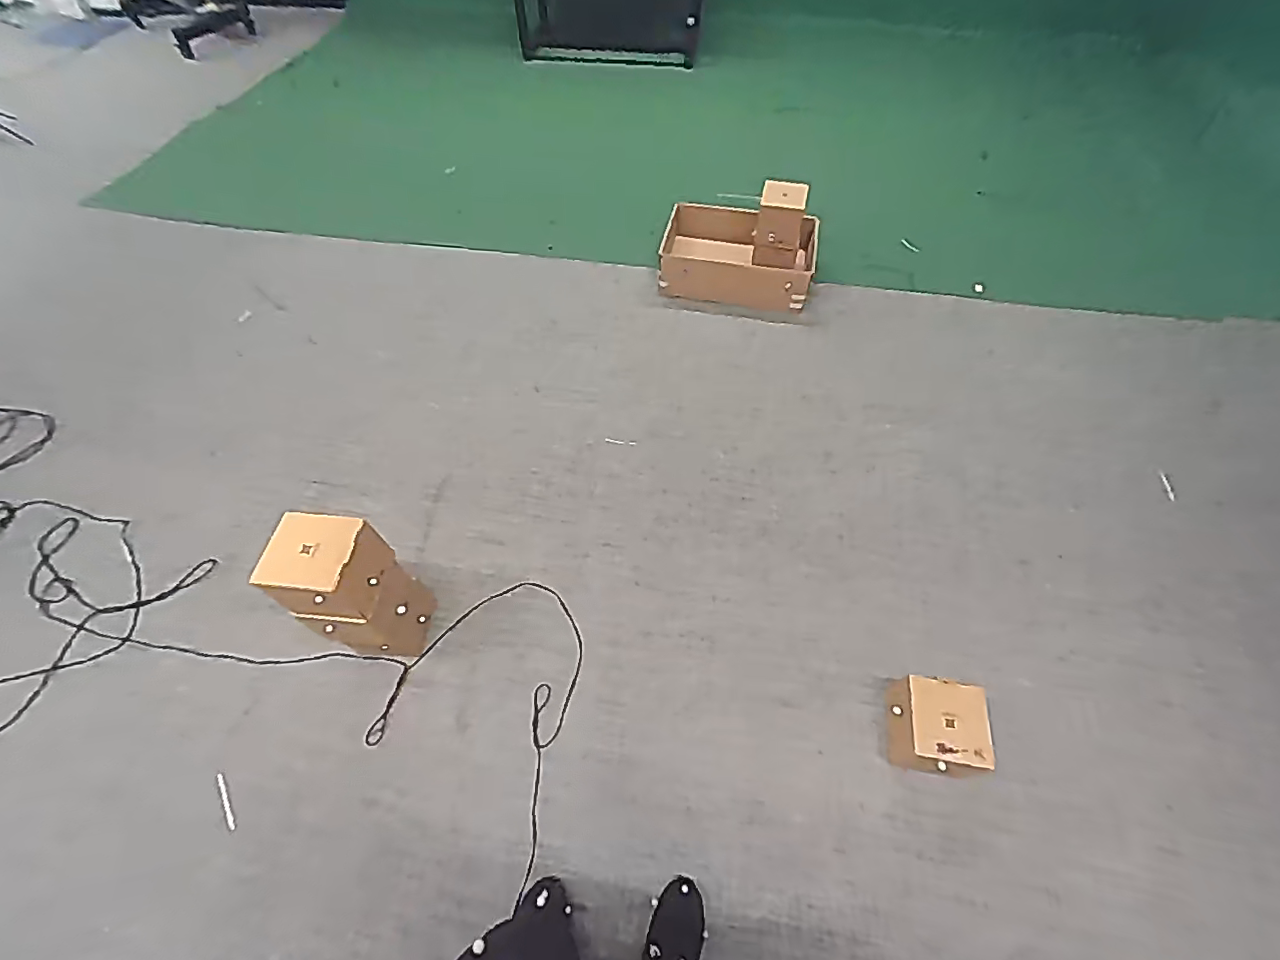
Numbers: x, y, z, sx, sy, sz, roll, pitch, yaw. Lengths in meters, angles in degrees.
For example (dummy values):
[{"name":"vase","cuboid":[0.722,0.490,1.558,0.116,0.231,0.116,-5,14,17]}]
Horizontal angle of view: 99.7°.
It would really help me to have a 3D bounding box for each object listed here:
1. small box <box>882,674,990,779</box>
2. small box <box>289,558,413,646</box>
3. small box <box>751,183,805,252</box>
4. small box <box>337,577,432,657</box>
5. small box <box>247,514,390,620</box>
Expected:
[{"name":"small box","cuboid":[0.679,0.578,1.265,0.168,0.176,0.179,9,56,7]},{"name":"small box","cuboid":[-0.677,0.286,1.290,0.179,0.176,0.168,5,56,4]},{"name":"small box","cuboid":[0.533,-1.021,2.104,0.168,0.176,0.179,11,58,9]},{"name":"small box","cuboid":[-0.677,0.364,1.435,0.179,0.176,0.168,1,55,3]},{"name":"small box","cuboid":[-0.674,0.189,1.159,0.179,0.176,0.168,4,56,3]}]
